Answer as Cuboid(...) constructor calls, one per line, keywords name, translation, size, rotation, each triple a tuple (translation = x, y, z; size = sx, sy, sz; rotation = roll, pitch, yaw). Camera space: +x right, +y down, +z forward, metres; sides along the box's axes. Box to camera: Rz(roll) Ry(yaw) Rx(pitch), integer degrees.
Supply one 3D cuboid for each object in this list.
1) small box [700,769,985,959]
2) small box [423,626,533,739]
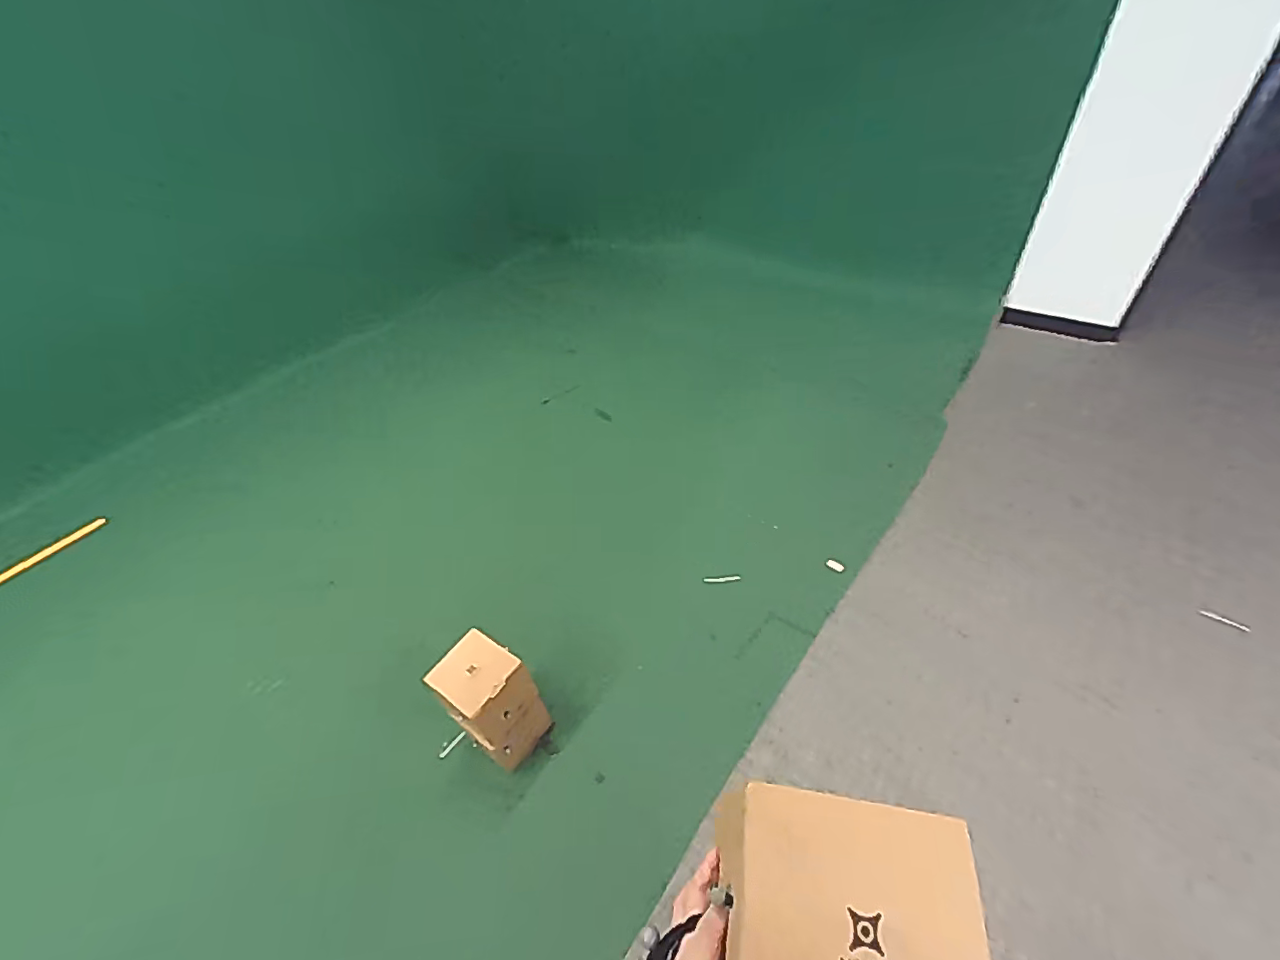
Cuboid(name="small box", translation=(0.142, 0.350, 0.424), size=(0.168, 0.176, 0.179), rotation=(9, 54, 4))
Cuboid(name="small box", translation=(-0.393, 0.504, 1.337), size=(0.179, 0.176, 0.168), rotation=(23, 51, 28))
